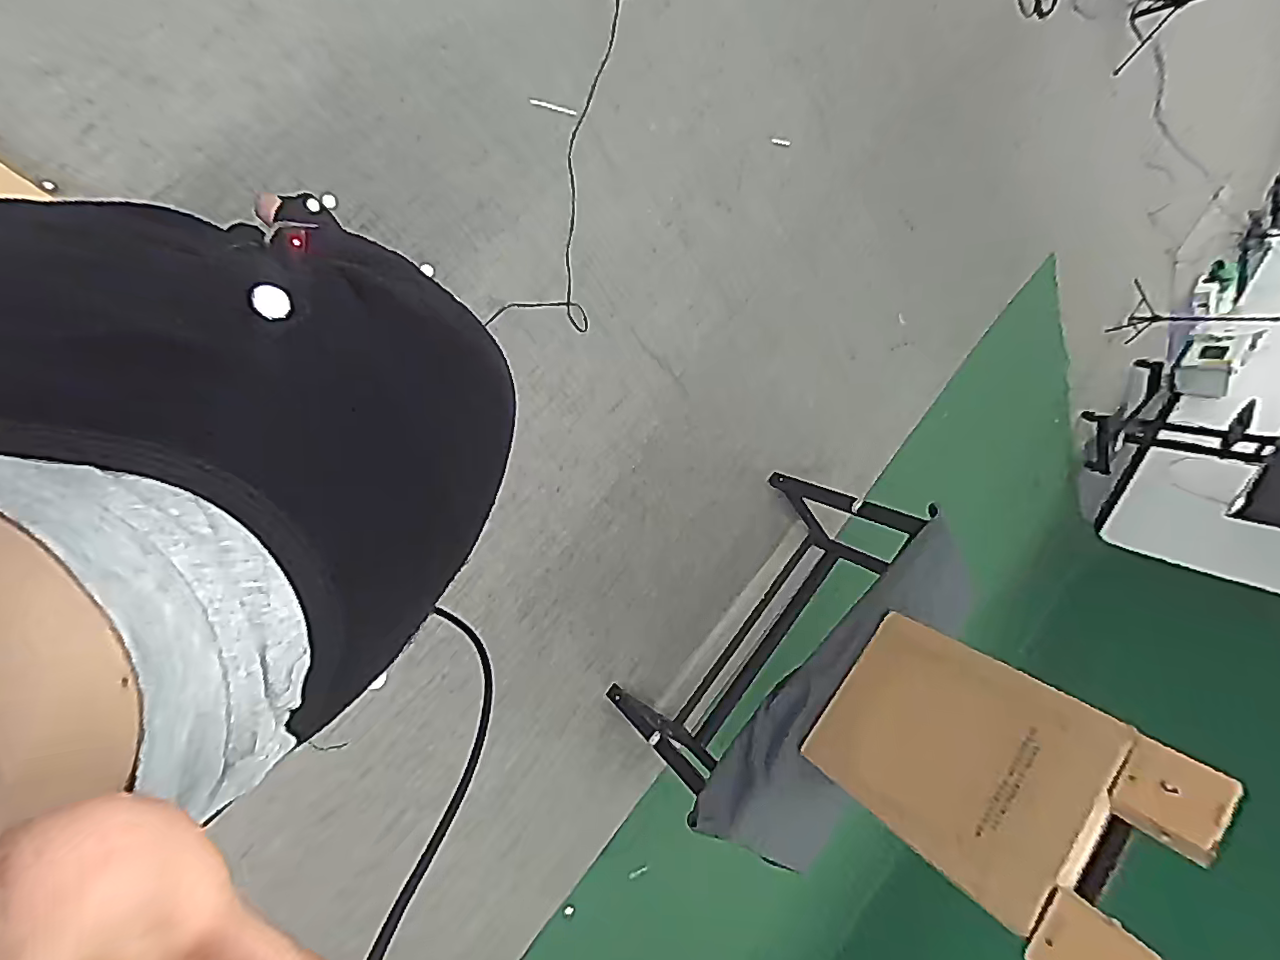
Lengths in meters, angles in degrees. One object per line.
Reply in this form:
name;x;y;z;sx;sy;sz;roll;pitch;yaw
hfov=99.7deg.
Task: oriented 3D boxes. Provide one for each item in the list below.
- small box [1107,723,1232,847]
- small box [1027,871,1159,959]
small box;1.210;0.693;1.244;0.168;0.176;0.179;-52;126;-11
small box;0.971;0.984;1.166;0.179;0.176;0.168;36;85;-38
